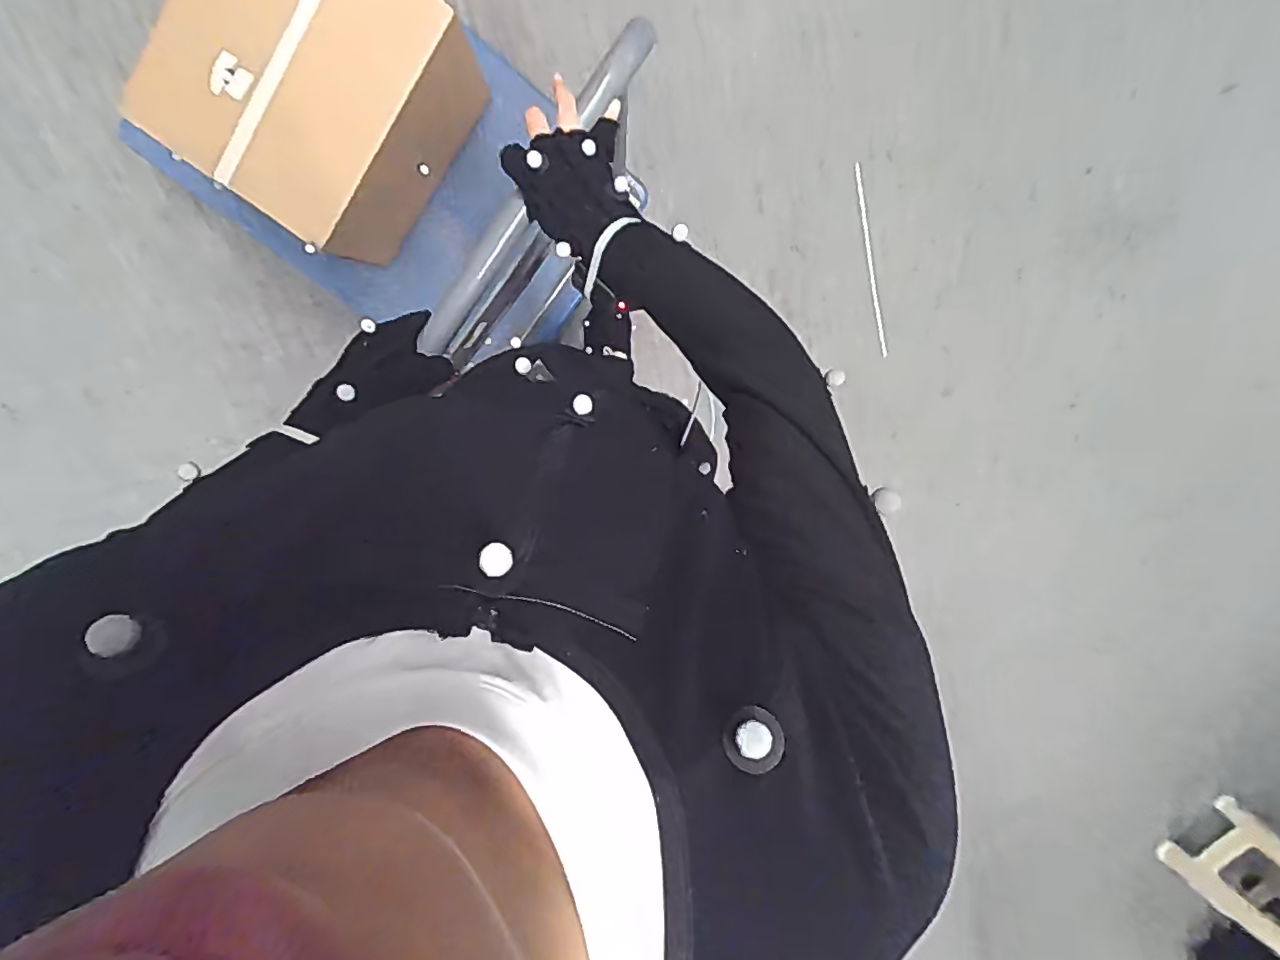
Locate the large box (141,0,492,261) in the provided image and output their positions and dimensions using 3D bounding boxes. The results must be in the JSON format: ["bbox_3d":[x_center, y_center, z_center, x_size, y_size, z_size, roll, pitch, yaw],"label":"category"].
[{"bbox_3d":[-0.505,-0.648,0.924,0.320,0.320,0.408,34,102,-14],"label":"large box"}]
